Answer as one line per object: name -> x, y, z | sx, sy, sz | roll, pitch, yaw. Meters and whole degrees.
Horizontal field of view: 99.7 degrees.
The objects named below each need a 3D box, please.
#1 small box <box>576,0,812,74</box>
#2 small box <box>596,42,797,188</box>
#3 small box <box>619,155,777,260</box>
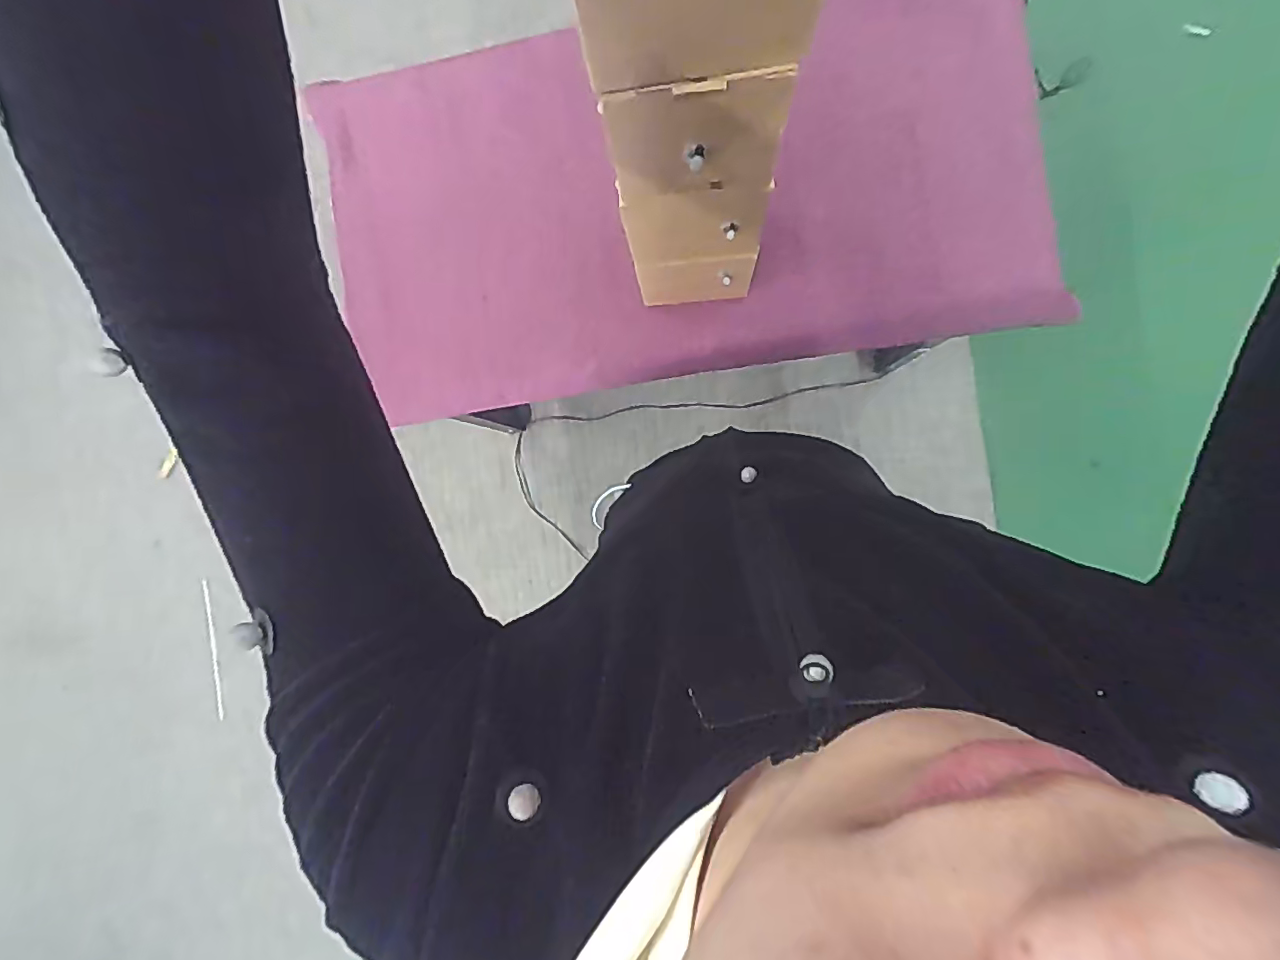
small box -> 0.033, -0.412, 0.356 | 0.179, 0.176, 0.168 | -5, 88, 5
small box -> 0.051, -0.406, 0.519 | 0.168, 0.176, 0.179 | -3, 89, 6
small box -> 0.069, -0.396, 0.681 | 0.179, 0.176, 0.168 | -3, 89, 7
